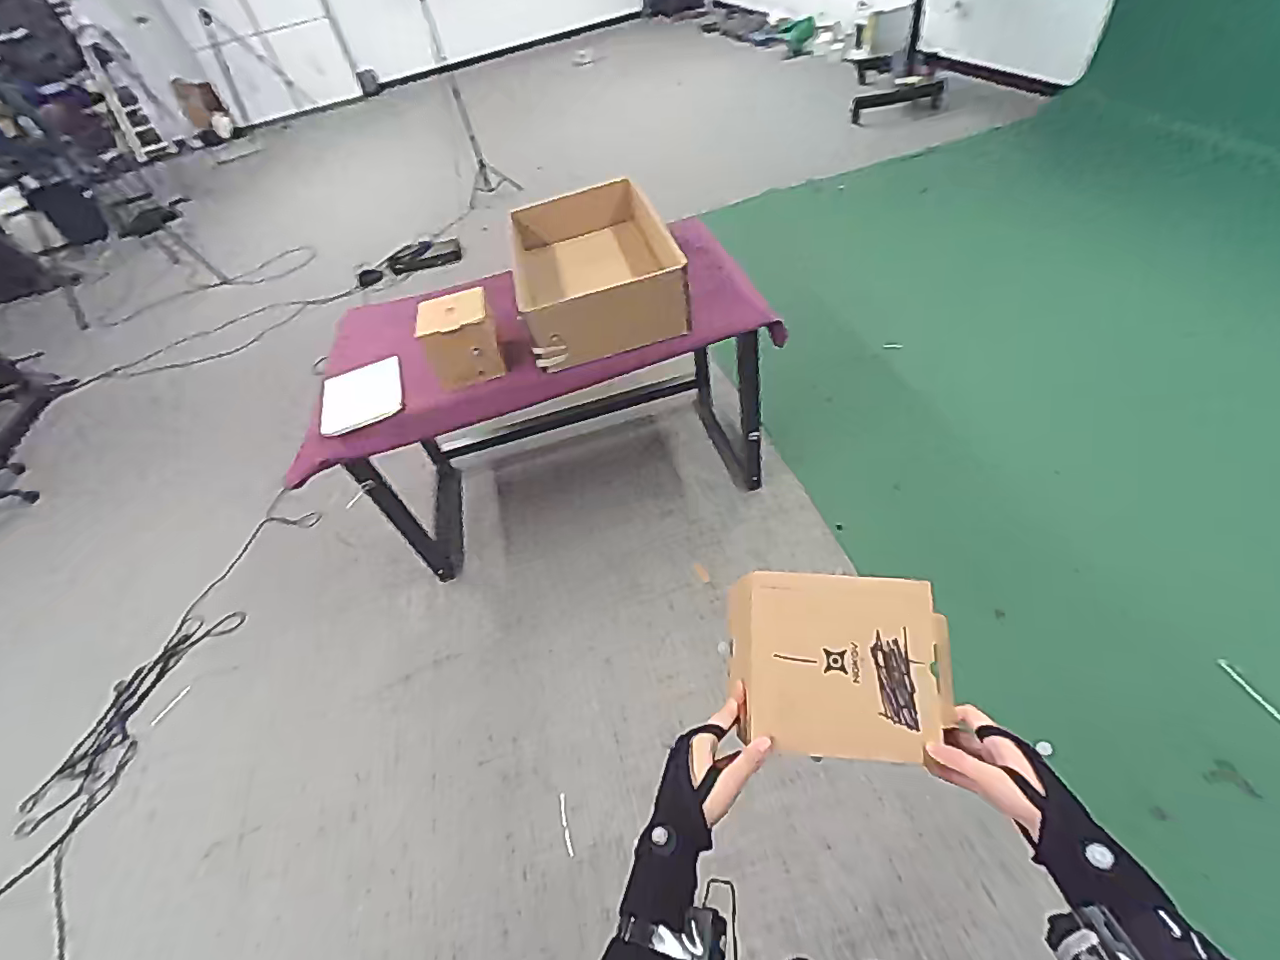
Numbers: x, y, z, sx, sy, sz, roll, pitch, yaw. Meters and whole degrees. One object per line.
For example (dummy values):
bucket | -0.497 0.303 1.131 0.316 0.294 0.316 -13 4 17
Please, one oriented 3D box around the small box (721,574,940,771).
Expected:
small box | 0.187 0.198 0.581 0.179 0.176 0.168 3 72 2

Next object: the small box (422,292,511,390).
small box | -0.437 -0.349 1.384 0.168 0.176 0.179 -15 45 -2
